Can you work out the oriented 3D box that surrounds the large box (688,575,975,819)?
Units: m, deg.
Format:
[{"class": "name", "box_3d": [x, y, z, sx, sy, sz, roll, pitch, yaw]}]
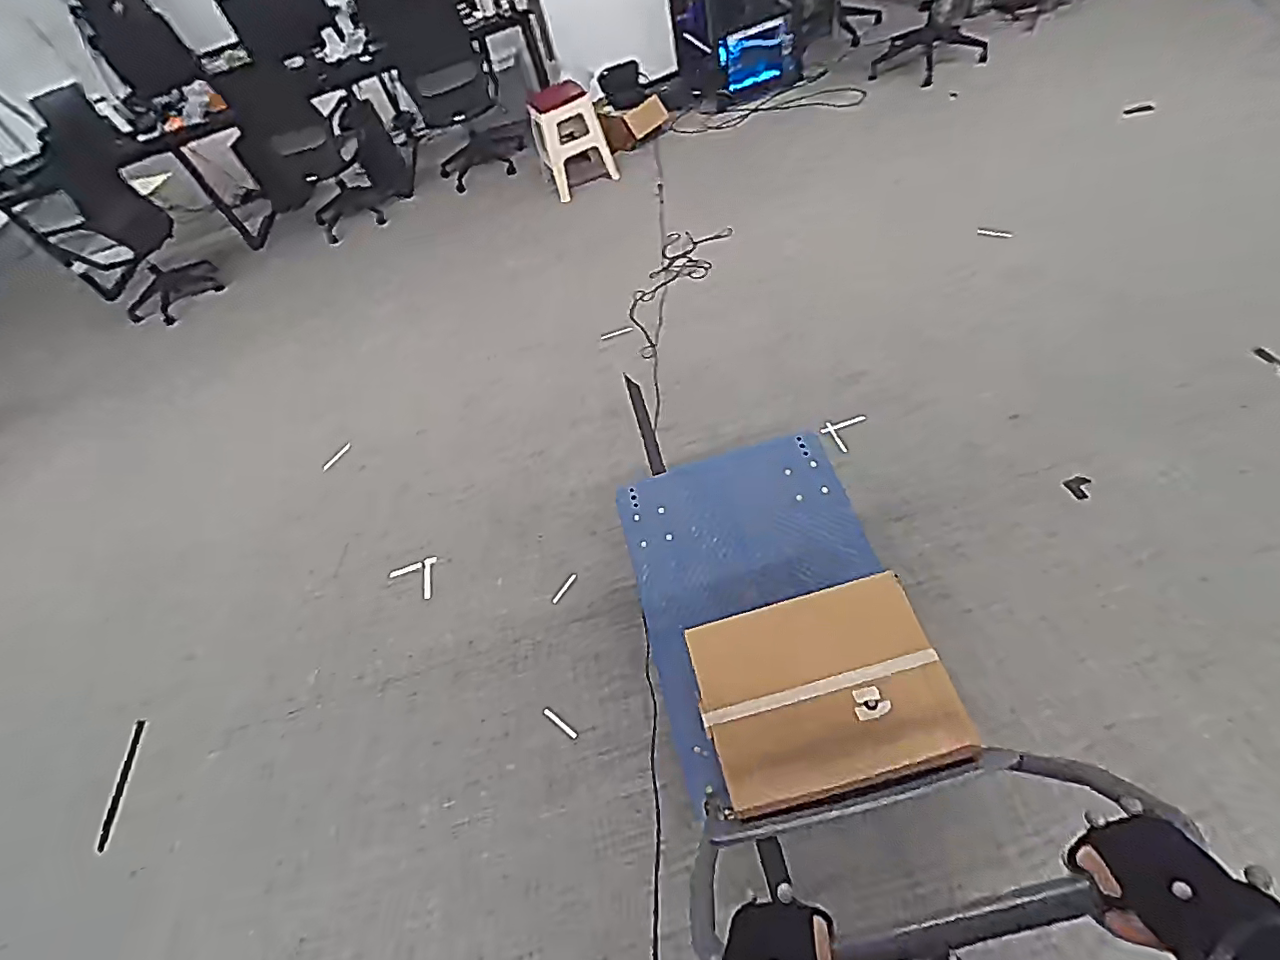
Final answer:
[{"class": "large box", "box_3d": [0.339, 0.432, 1.072, 0.408, 0.320, 0.320, -17, 62, 2]}]
